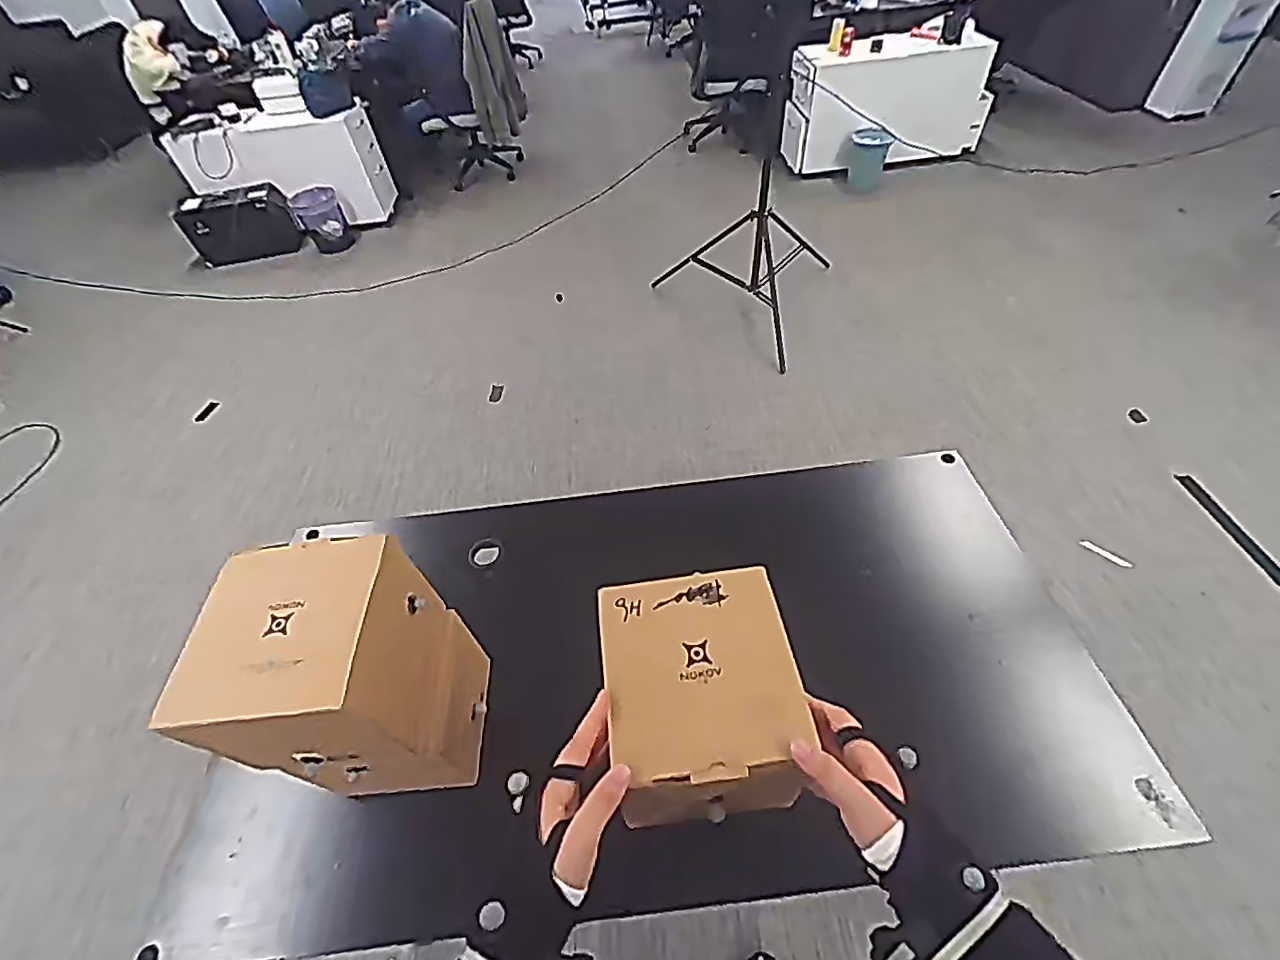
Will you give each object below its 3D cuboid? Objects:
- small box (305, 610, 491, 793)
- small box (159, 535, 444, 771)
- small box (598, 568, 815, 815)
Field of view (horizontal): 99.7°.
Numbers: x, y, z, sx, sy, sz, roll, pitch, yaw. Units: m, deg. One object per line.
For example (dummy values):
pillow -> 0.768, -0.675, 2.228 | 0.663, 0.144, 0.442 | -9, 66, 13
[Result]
small box -> -0.306, 0.285, 0.687 | 0.179, 0.176, 0.168 | -5, 50, 0
small box -> -0.320, 0.181, 0.562 | 0.168, 0.176, 0.179 | -7, 51, 1
small box -> 0.055, 0.213, 0.532 | 0.168, 0.176, 0.179 | -8, 49, -1
